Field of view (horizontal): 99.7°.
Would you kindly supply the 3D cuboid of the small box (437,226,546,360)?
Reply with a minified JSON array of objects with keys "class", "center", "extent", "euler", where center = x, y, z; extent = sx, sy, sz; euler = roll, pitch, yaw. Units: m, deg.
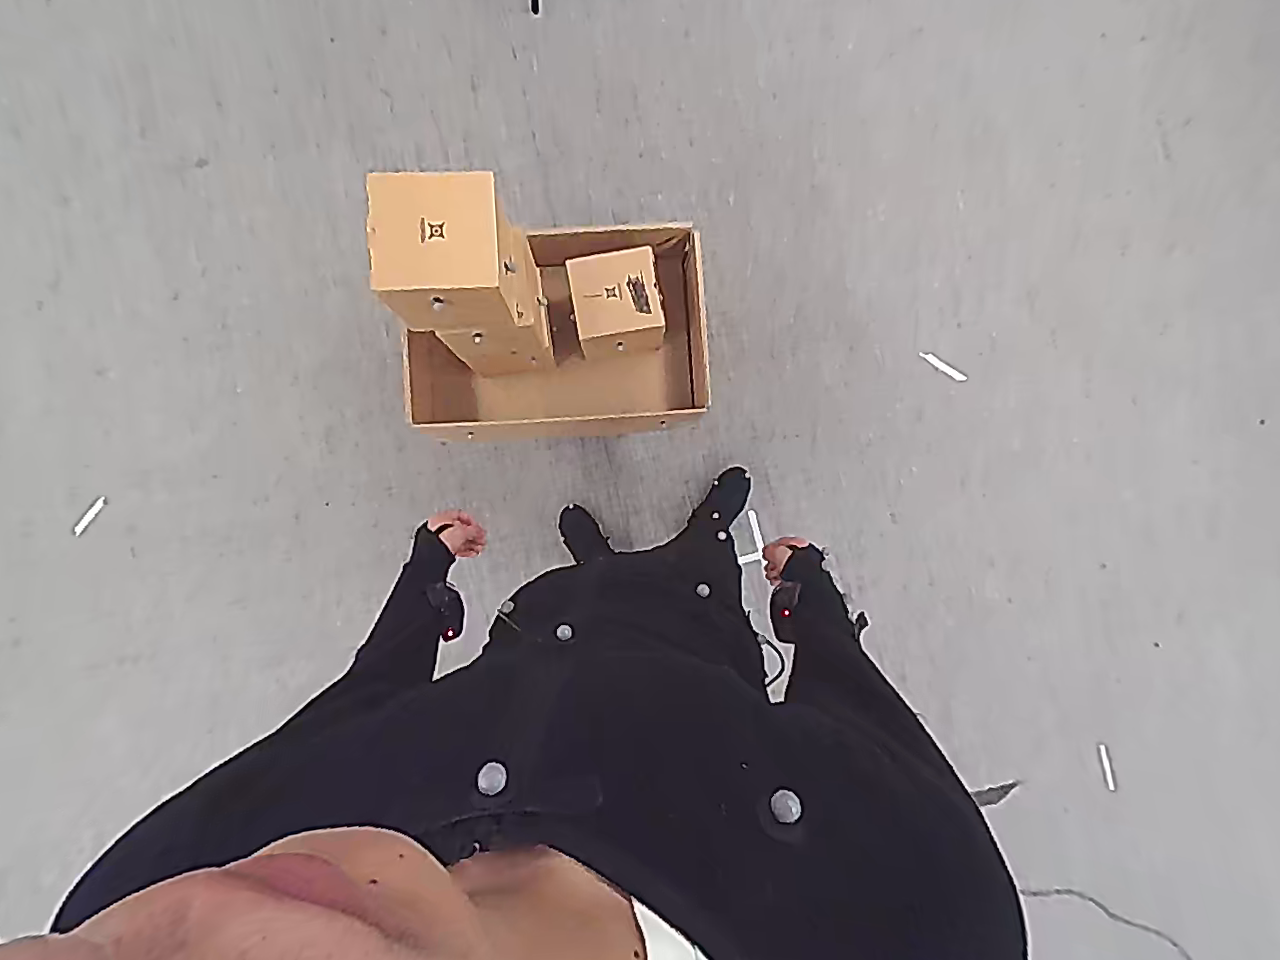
[{"class":"small box","center":[-0.268,-0.331,0.981],"extent":[0.168,0.176,0.179],"euler":[-7,87,-3]}]

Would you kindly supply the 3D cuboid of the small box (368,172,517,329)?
[{"class":"small box","center":[-0.284,-0.336,0.817],"extent":[0.179,0.176,0.168],"euler":[-4,88,-3]}]
